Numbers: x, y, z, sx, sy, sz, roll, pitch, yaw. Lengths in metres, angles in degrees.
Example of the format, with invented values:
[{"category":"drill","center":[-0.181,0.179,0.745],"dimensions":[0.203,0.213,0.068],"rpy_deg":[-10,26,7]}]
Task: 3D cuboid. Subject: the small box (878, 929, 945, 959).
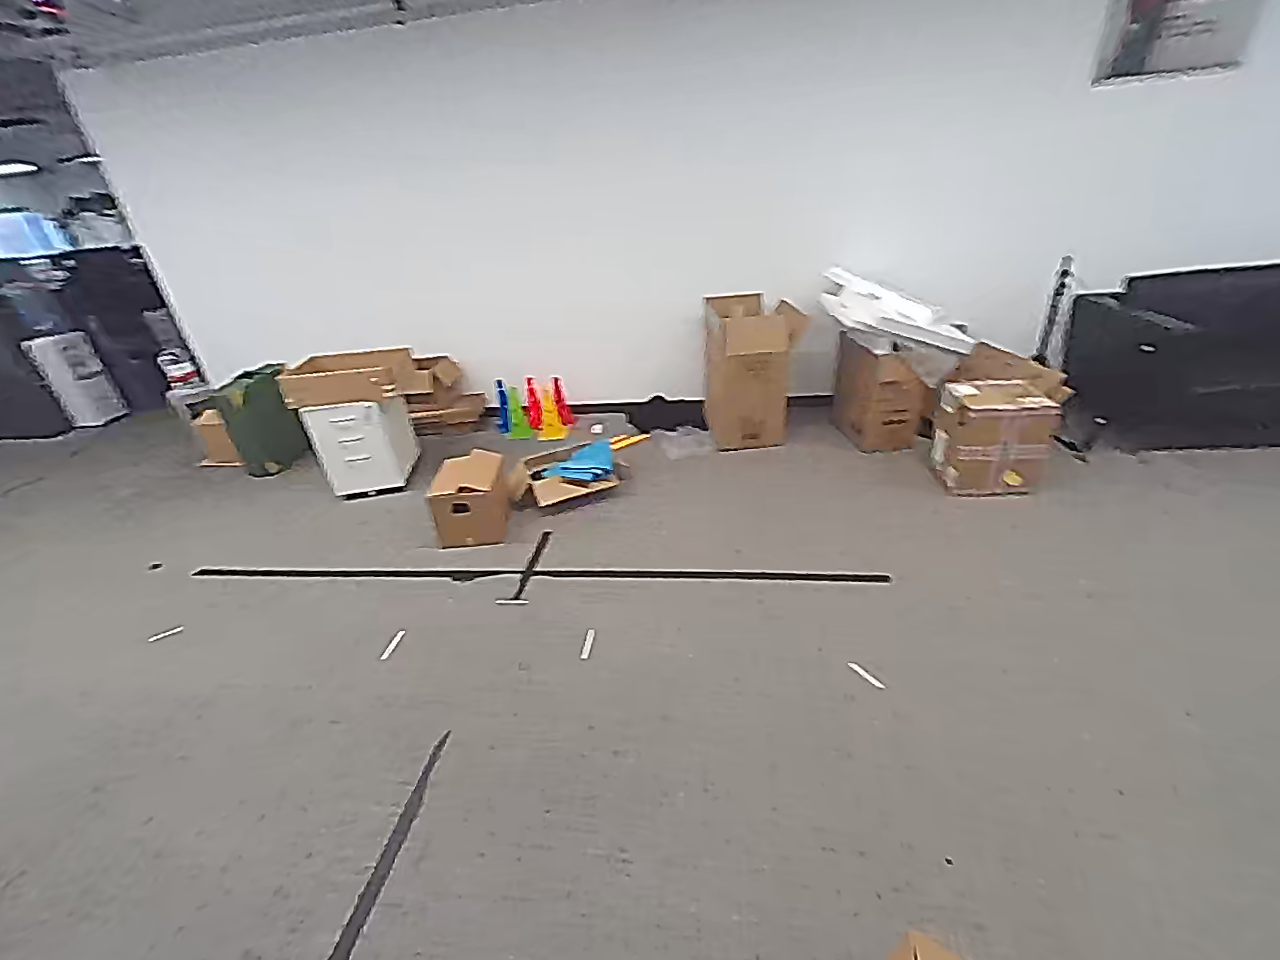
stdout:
[{"category":"small box","center":[0.243,0.510,0.396],"dimensions":[0.179,0.176,0.168],"rpy_deg":[28,2,22]}]
